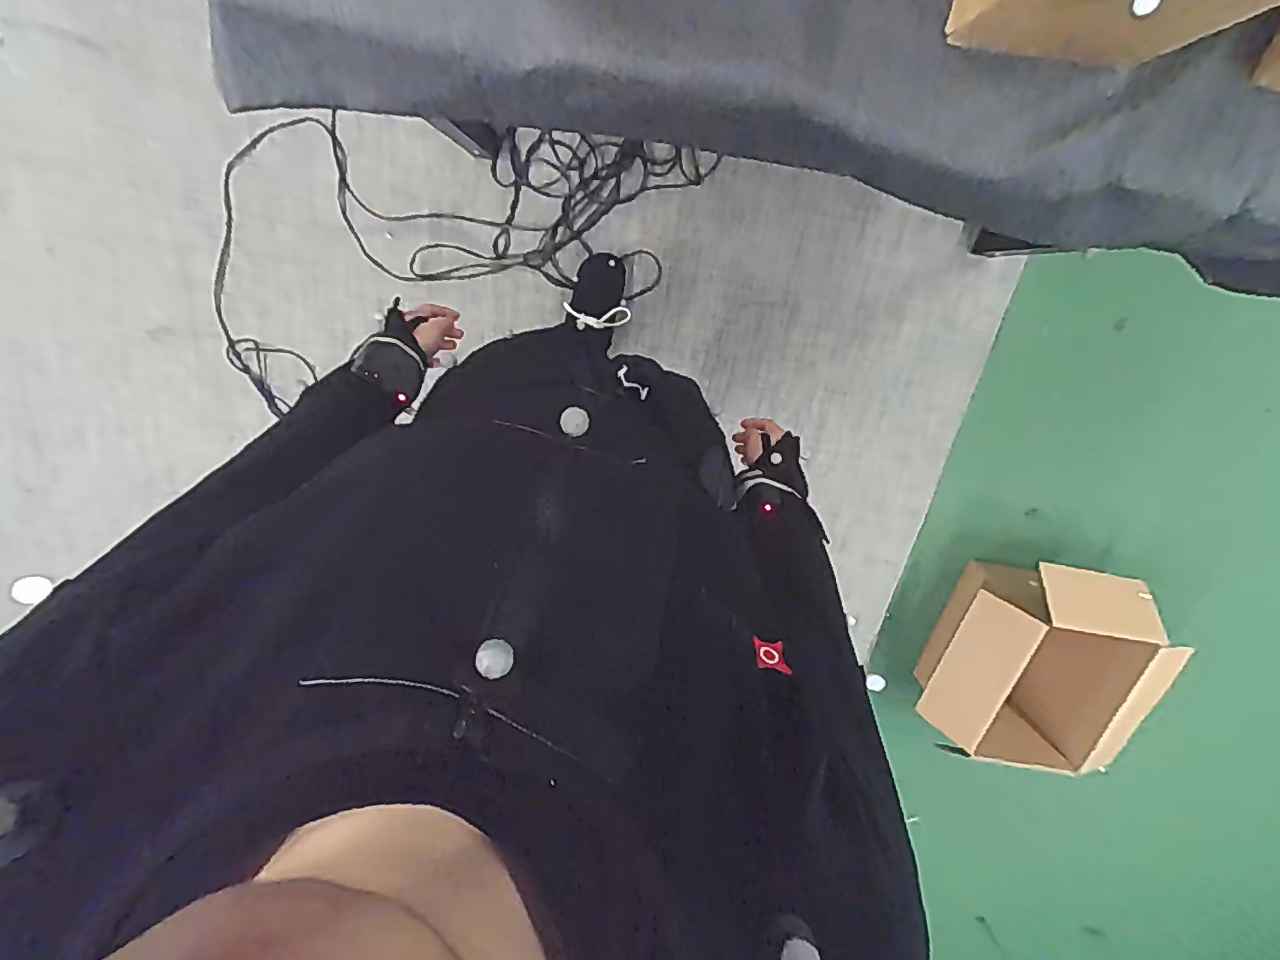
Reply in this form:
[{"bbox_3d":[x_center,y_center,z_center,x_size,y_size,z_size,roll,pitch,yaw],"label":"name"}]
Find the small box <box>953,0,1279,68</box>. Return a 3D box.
[{"bbox_3d":[0.373,-0.426,0.386,0.179,0.176,0.168,6,110,-3],"label":"small box"}]
